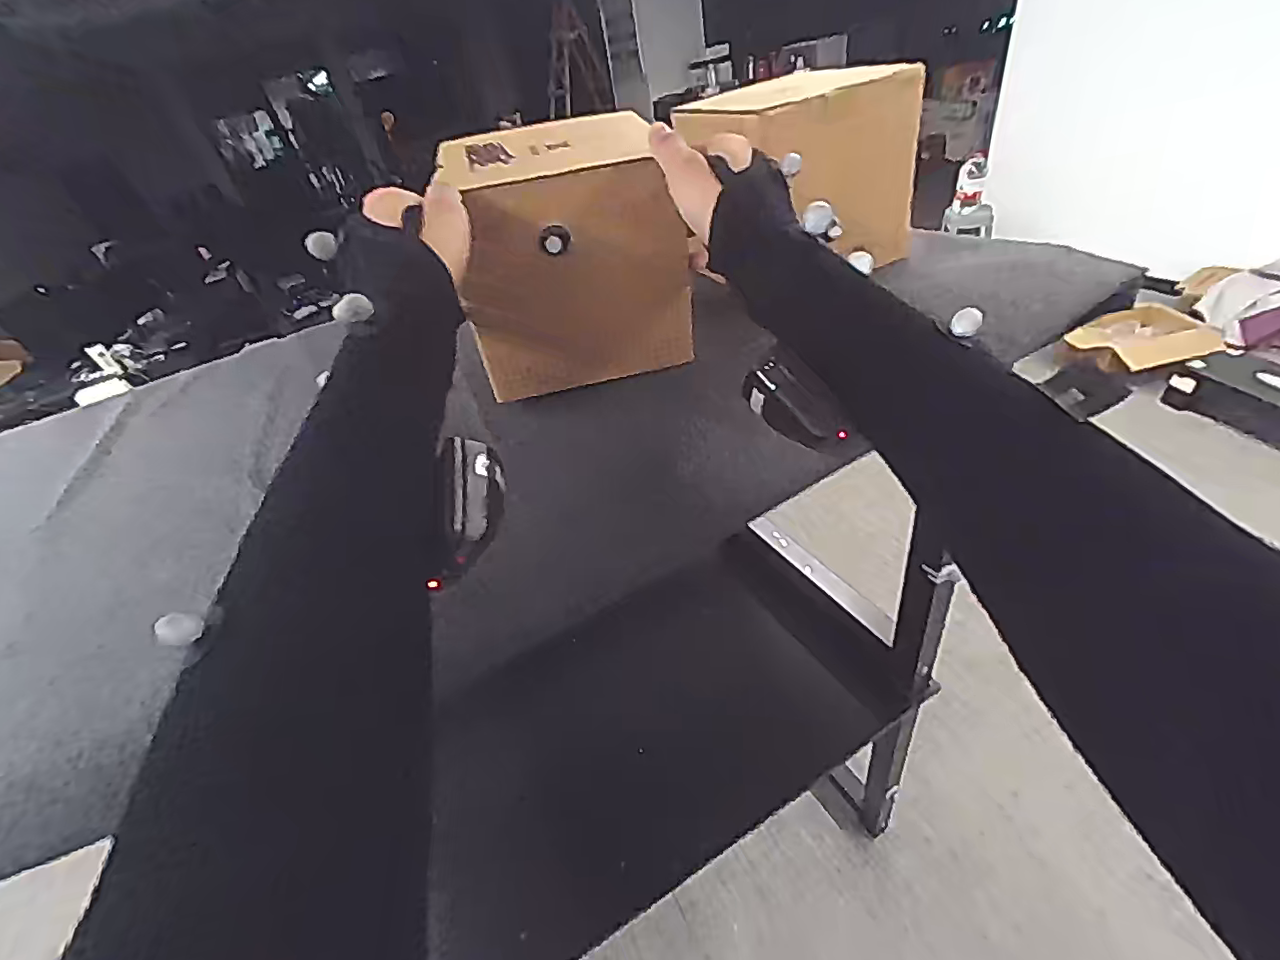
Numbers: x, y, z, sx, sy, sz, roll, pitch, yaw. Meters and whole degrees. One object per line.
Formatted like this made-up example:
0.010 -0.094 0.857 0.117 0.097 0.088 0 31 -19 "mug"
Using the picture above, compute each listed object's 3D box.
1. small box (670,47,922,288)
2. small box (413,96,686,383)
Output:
0.147 -0.315 0.552 0.168 0.176 0.179 -23 40 -11 "small box"
-0.067 -0.202 0.458 0.179 0.176 0.168 -13 44 -6 "small box"
